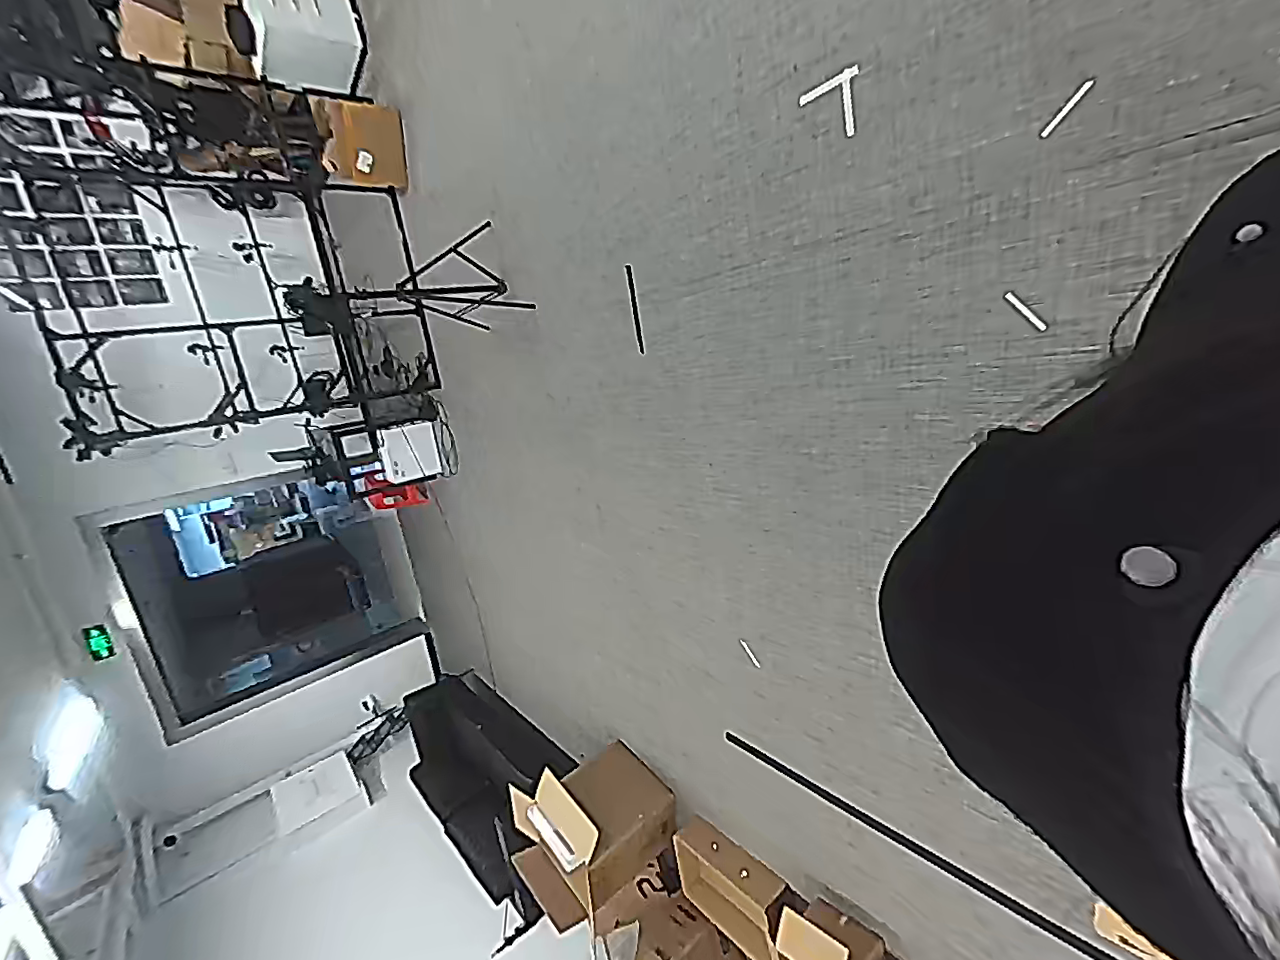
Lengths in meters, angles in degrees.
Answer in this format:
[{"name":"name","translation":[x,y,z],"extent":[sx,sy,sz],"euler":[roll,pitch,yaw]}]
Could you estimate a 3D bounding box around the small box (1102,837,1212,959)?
[{"name":"small box","translation":[1.237,1.013,1.293],"extent":[0.168,0.176,0.179],"euler":[8,111,51]}]
